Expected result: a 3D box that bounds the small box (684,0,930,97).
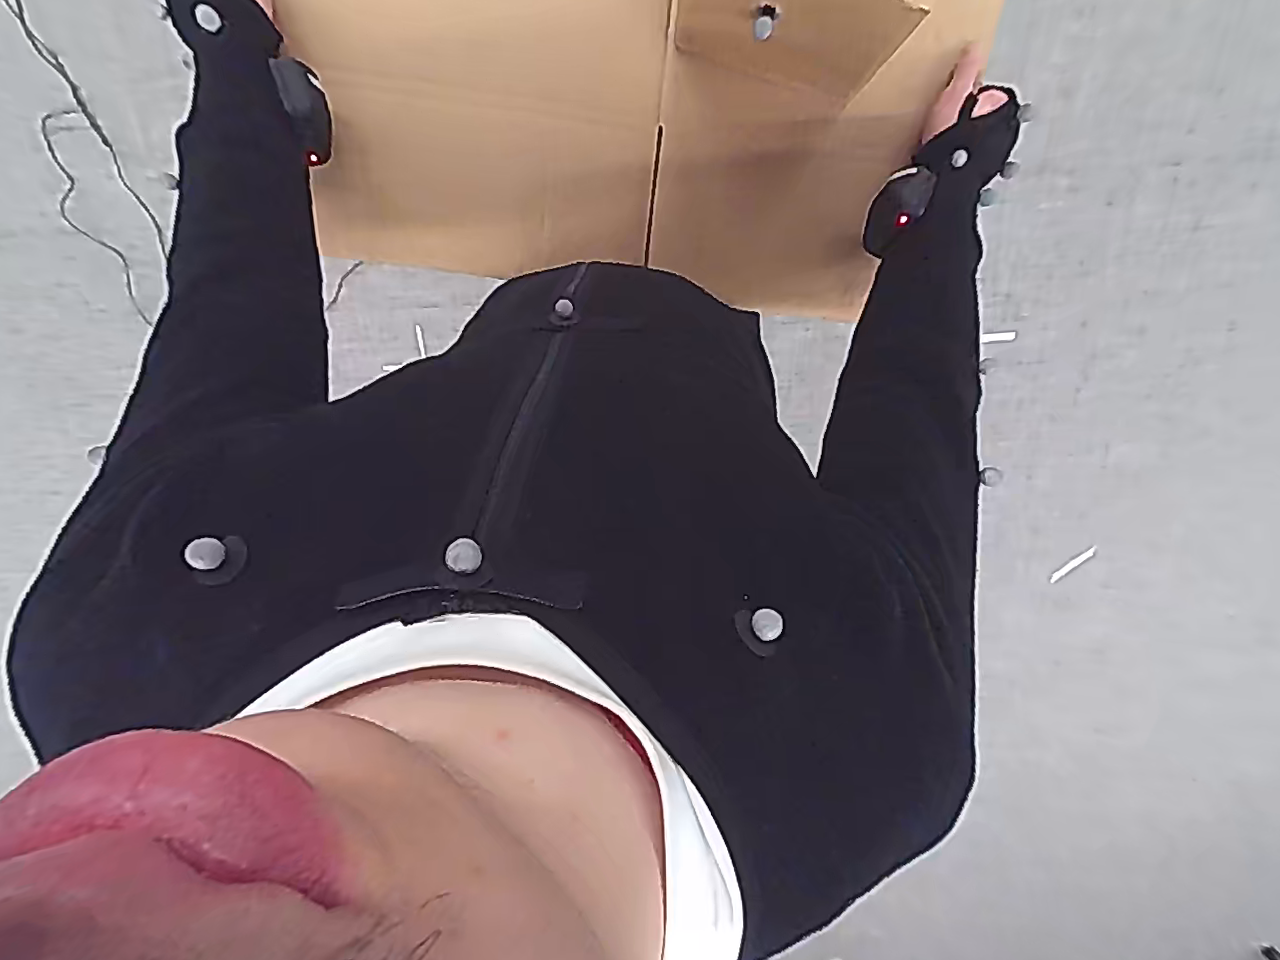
[{"bbox_3d":[0.139,-0.437,0.418,0.179,0.176,0.168,17,106,-3],"label":"small box"}]
